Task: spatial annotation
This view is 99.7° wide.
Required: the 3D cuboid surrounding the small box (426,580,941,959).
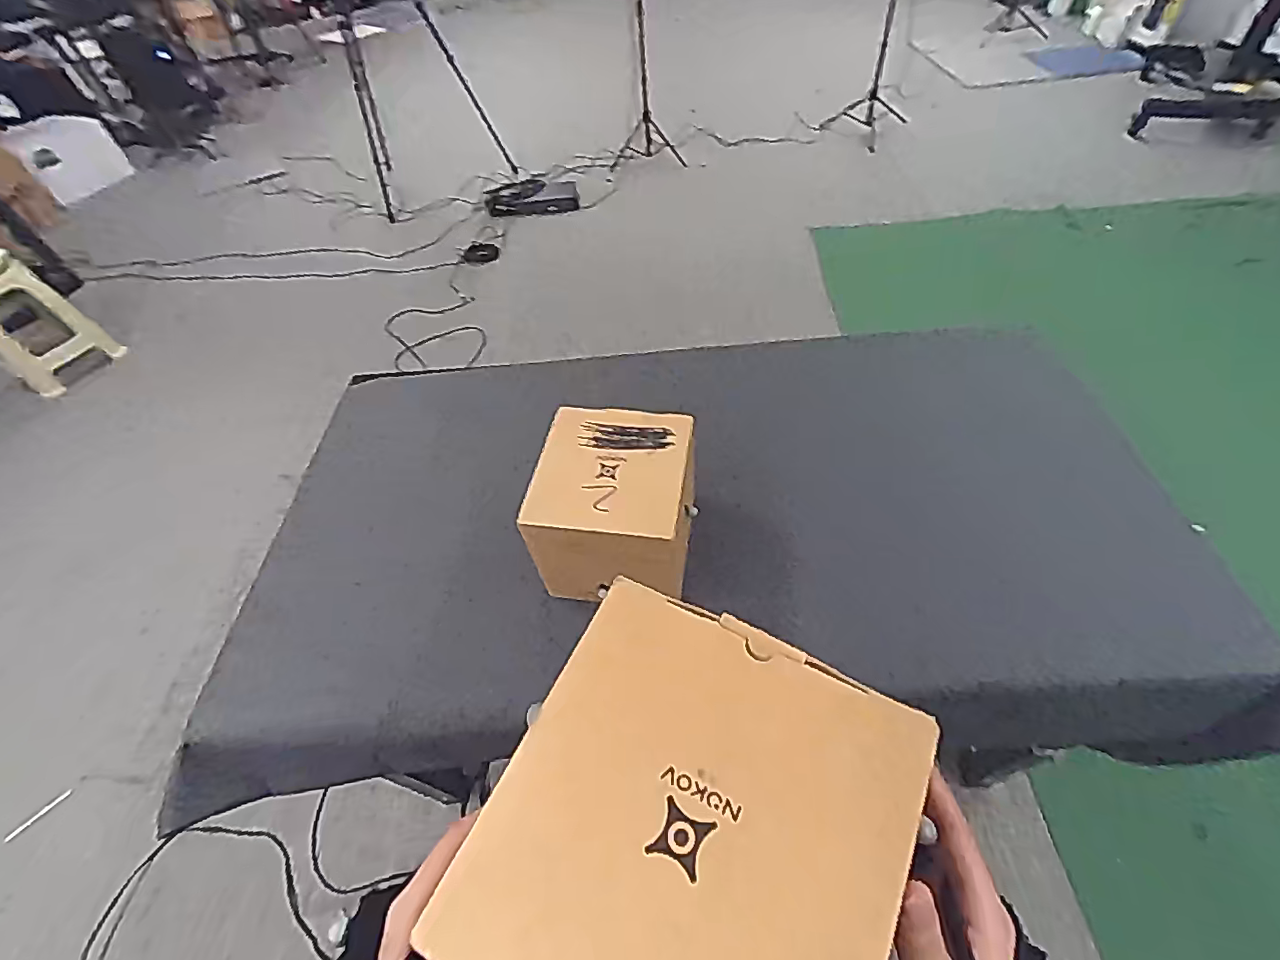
[{"bbox_3d":[0.032,0.190,0.293,0.168,0.176,0.179,21,61,20],"label":"small box"}]
